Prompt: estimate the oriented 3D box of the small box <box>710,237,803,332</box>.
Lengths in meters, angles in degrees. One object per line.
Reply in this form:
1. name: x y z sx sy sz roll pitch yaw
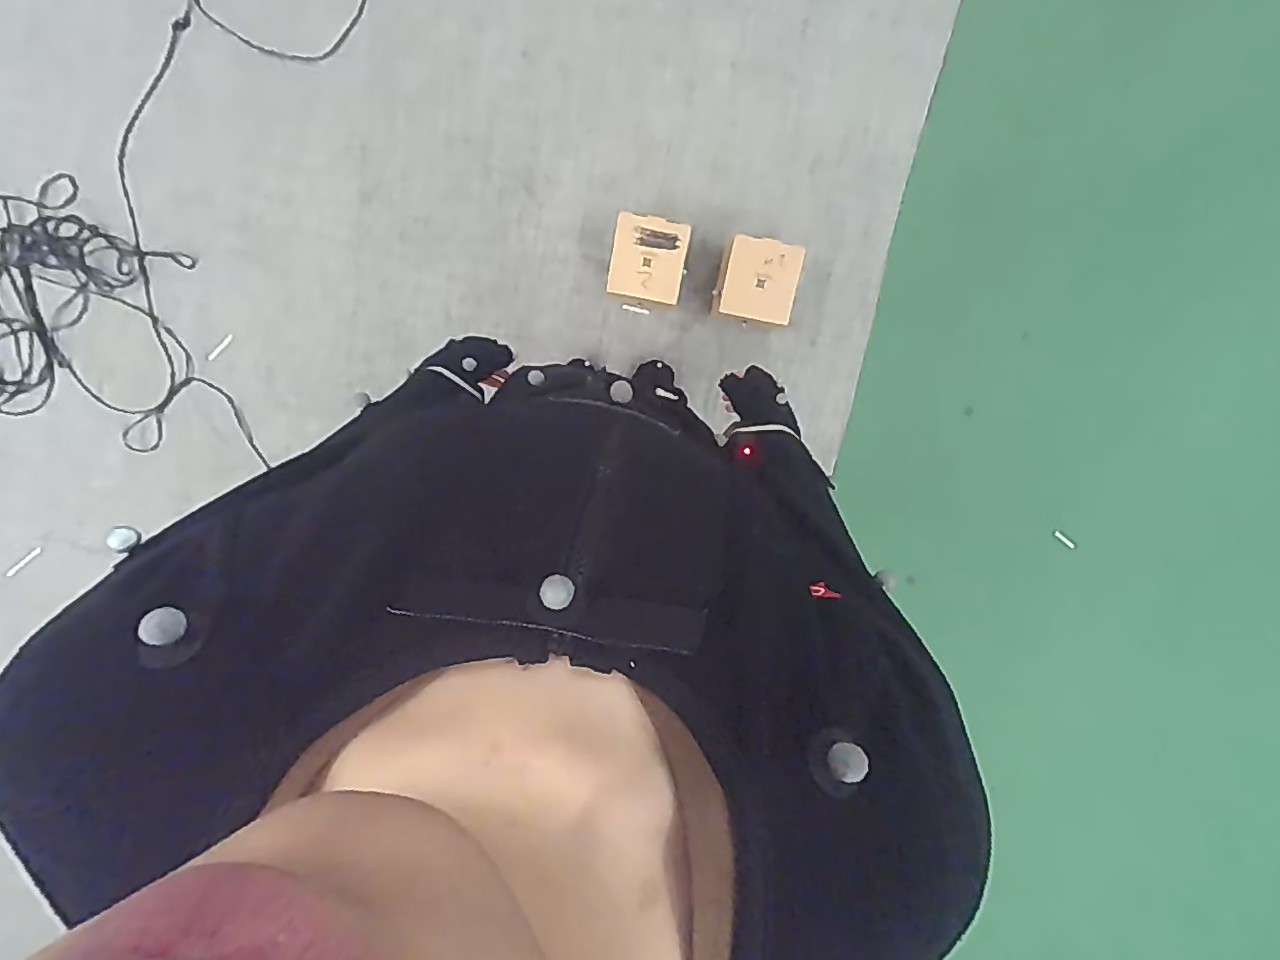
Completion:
1. small box: 0.270 -0.460 1.300 0.168 0.176 0.179 11 101 -3
